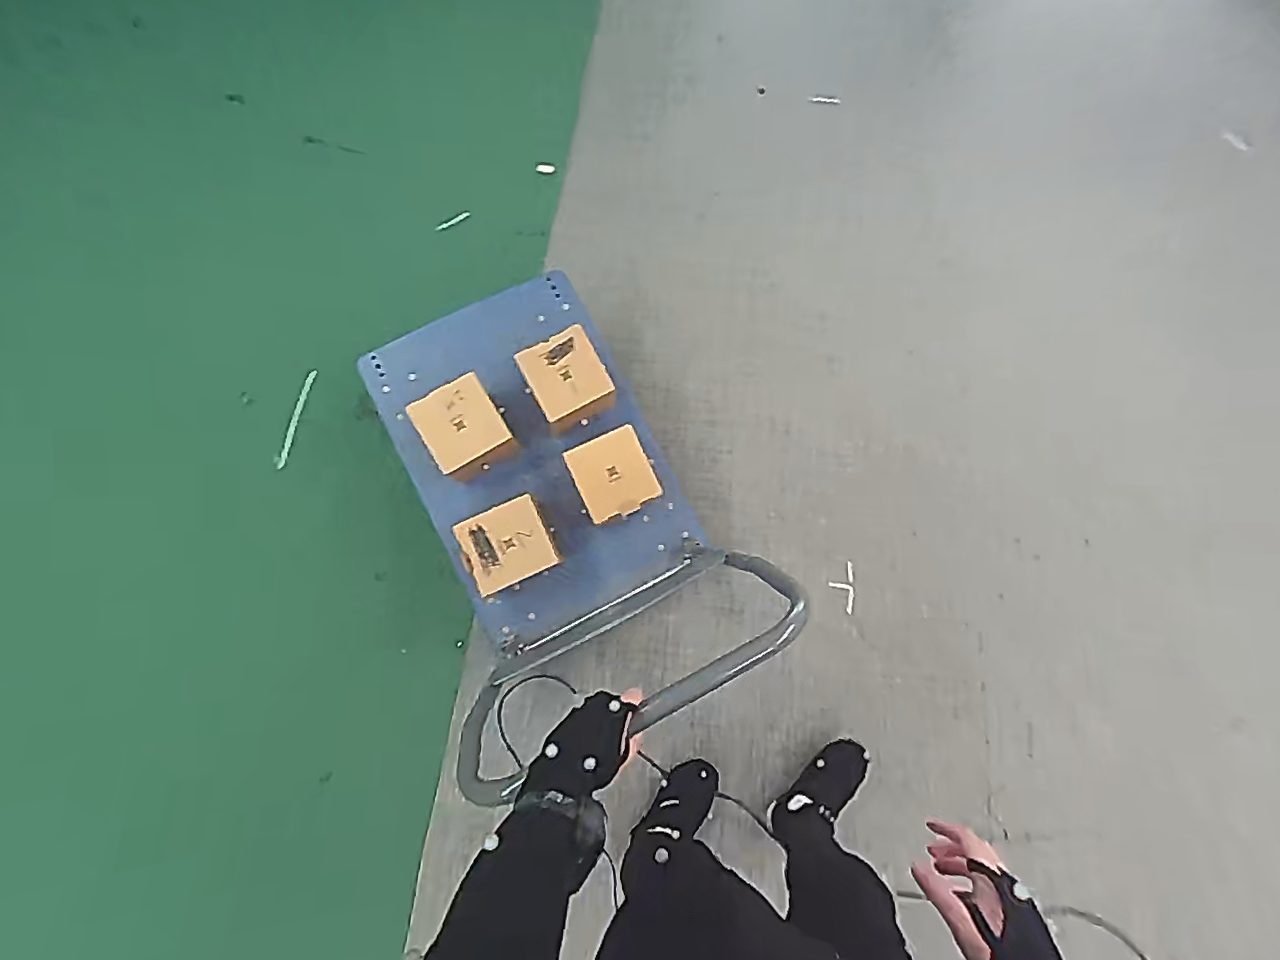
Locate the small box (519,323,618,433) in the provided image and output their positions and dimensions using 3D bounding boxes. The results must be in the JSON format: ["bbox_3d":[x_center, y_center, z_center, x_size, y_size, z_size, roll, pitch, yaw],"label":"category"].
[{"bbox_3d":[-0.166,-0.232,1.276,0.168,0.176,0.179,-28,87,-7],"label":"small box"}]

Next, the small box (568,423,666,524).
[{"bbox_3d":[-0.058,-0.007,1.259,0.168,0.176,0.179,-25,86,-7],"label":"small box"}]

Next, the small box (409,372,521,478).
[{"bbox_3d":[-0.391,-0.116,1.245,0.168,0.176,0.179,-30,86,-8],"label":"small box"}]
